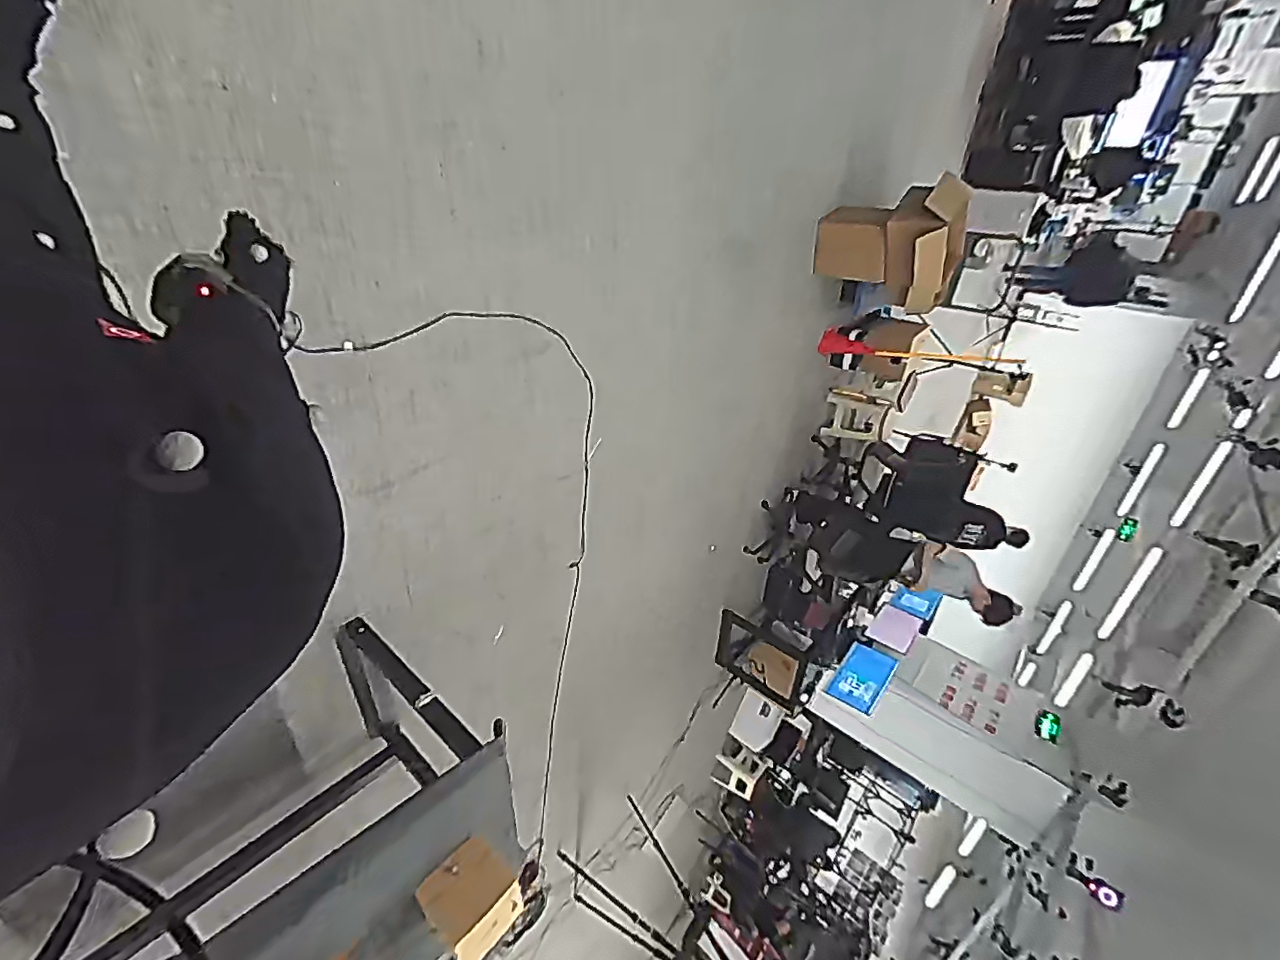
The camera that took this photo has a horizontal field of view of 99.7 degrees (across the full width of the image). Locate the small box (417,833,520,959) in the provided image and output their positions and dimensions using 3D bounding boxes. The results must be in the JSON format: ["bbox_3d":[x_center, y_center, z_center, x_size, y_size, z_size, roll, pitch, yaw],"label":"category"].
[{"bbox_3d":[-0.418,1.018,1.310,0.179,0.176,0.168,-31,134,-40],"label":"small box"}]
